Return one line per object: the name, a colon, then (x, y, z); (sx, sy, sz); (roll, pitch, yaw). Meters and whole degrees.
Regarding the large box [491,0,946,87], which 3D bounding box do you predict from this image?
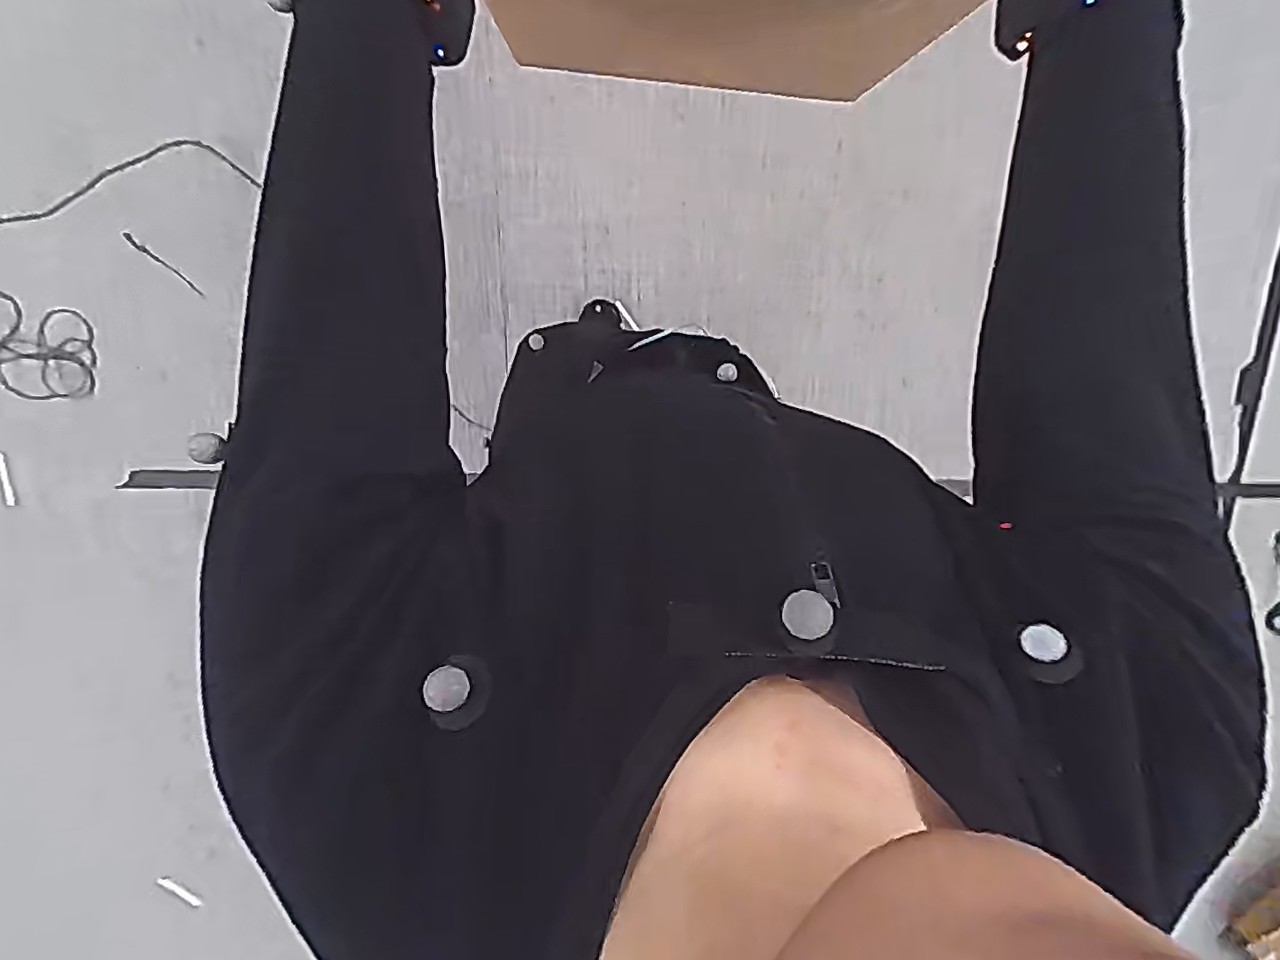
large box: (0.066, -0.568, 0.448); (0.408, 0.320, 0.320); (3, 112, -4)
